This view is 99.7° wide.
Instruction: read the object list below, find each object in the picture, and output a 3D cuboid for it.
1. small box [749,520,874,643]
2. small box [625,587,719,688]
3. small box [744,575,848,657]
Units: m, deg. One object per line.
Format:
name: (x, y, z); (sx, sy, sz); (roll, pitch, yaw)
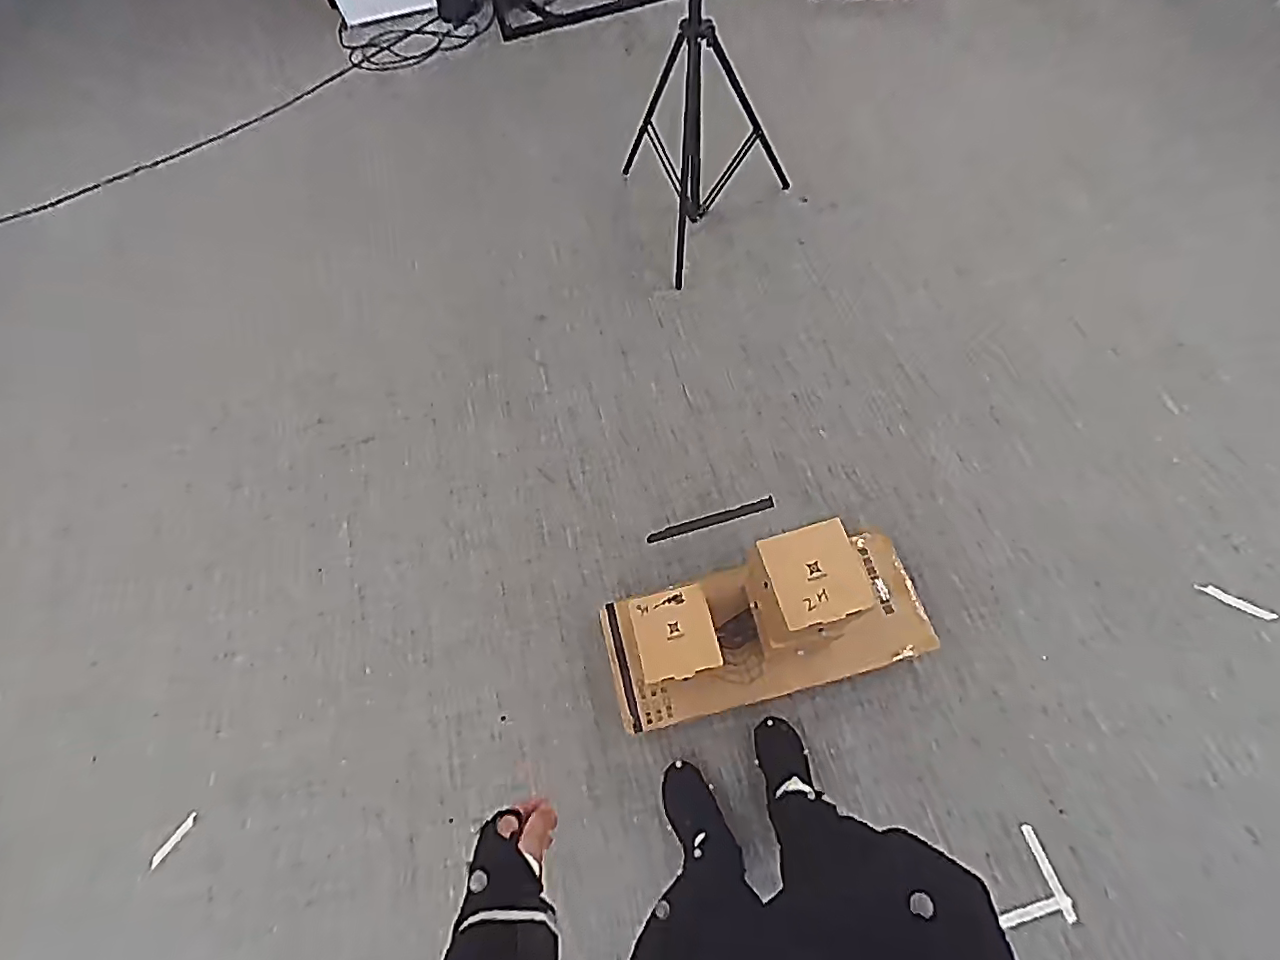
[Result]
small box: (0.322, 0.204, 1.058); (0.168, 0.176, 0.179); (-16, 66, -1)
small box: (0.075, 0.352, 1.197); (0.168, 0.176, 0.179); (-15, 67, 1)
small box: (0.336, 0.284, 1.203); (0.168, 0.176, 0.179); (-12, 67, 1)
